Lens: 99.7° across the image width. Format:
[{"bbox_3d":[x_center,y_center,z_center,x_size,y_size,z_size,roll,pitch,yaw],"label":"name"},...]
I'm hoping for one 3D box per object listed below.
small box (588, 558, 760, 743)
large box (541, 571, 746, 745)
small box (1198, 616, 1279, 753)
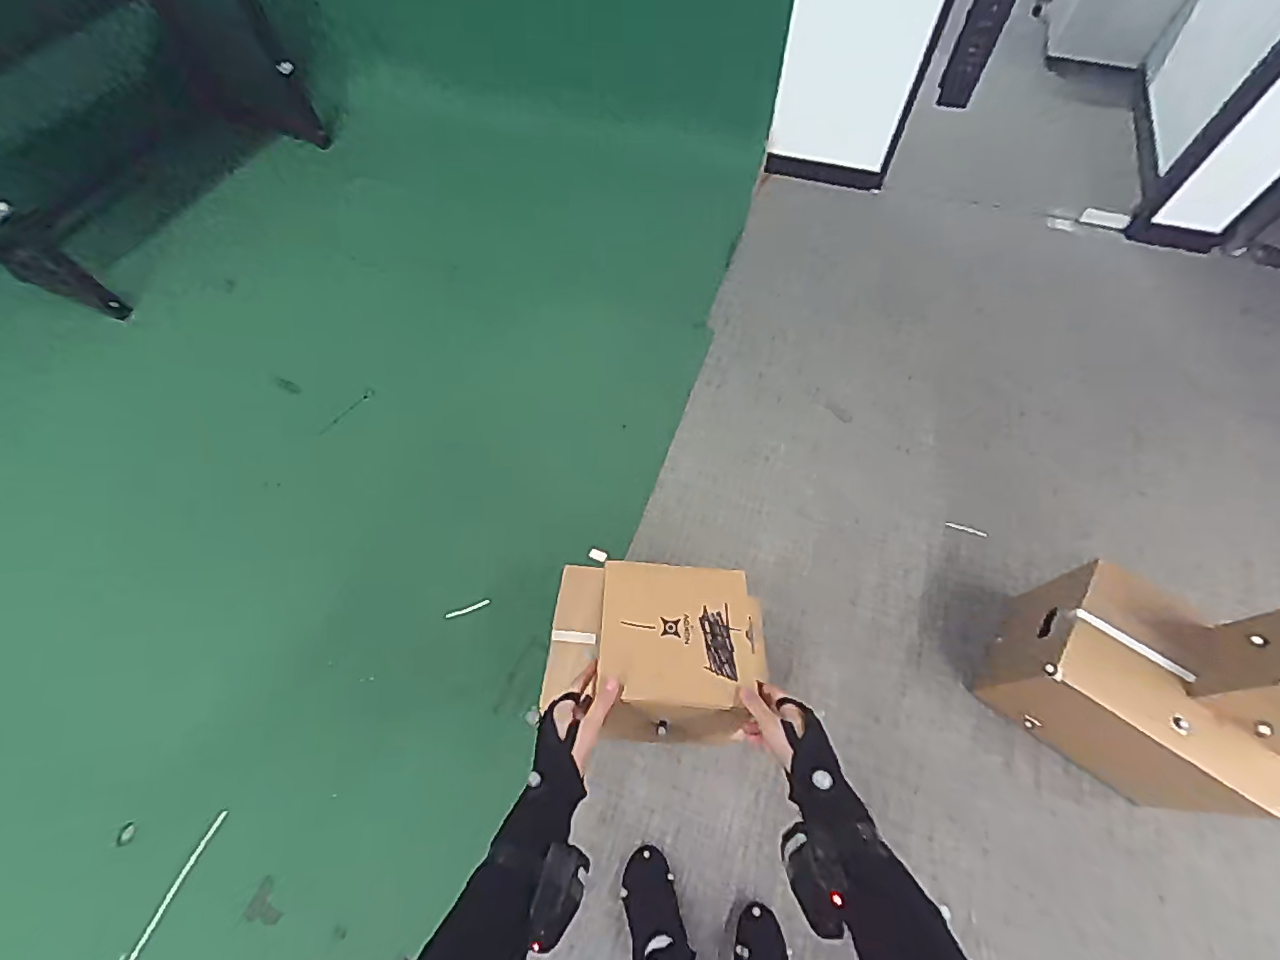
[{"bbox_3d":[0.033,0.215,0.667,0.179,0.176,0.168,6,51,-4],"label":"small box"},{"bbox_3d":[0.025,0.415,1.235,0.408,0.320,0.320,4,61,5],"label":"large box"},{"bbox_3d":[1.157,0.359,0.955,0.168,0.176,0.179,35,67,19],"label":"small box"}]
